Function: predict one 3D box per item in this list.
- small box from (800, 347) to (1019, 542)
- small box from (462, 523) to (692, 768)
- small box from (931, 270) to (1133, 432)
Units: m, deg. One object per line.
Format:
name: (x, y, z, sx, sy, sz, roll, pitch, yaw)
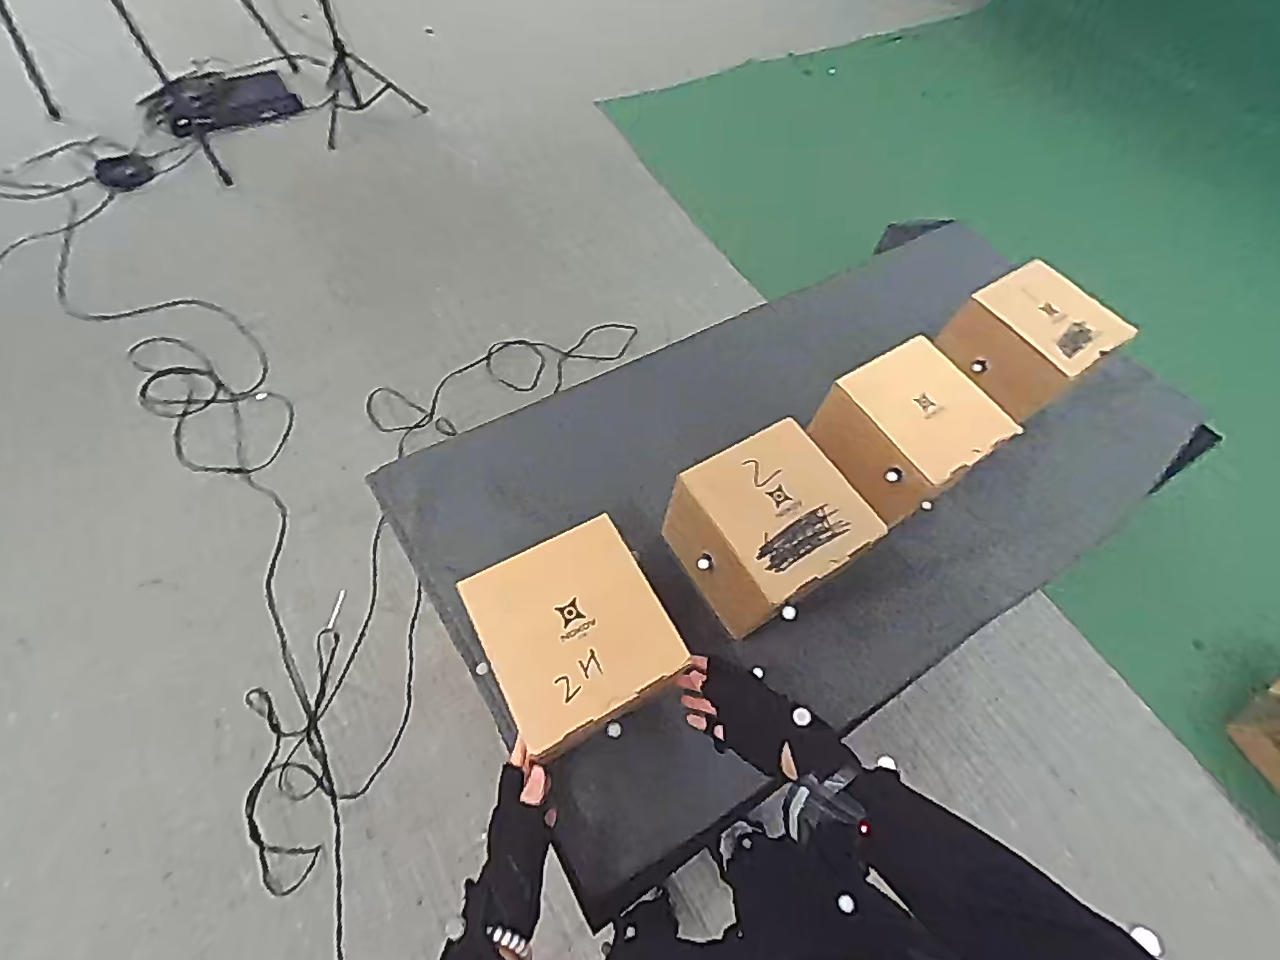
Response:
small box: (0.354, -0.045, 0.750, 0.168, 0.176, 0.179, -28, 68, -19)
small box: (-0.068, 0.181, 0.579, 0.168, 0.176, 0.179, -25, 64, -17)
small box: (0.582, -0.184, 0.843, 0.168, 0.176, 0.179, -28, 67, -19)
